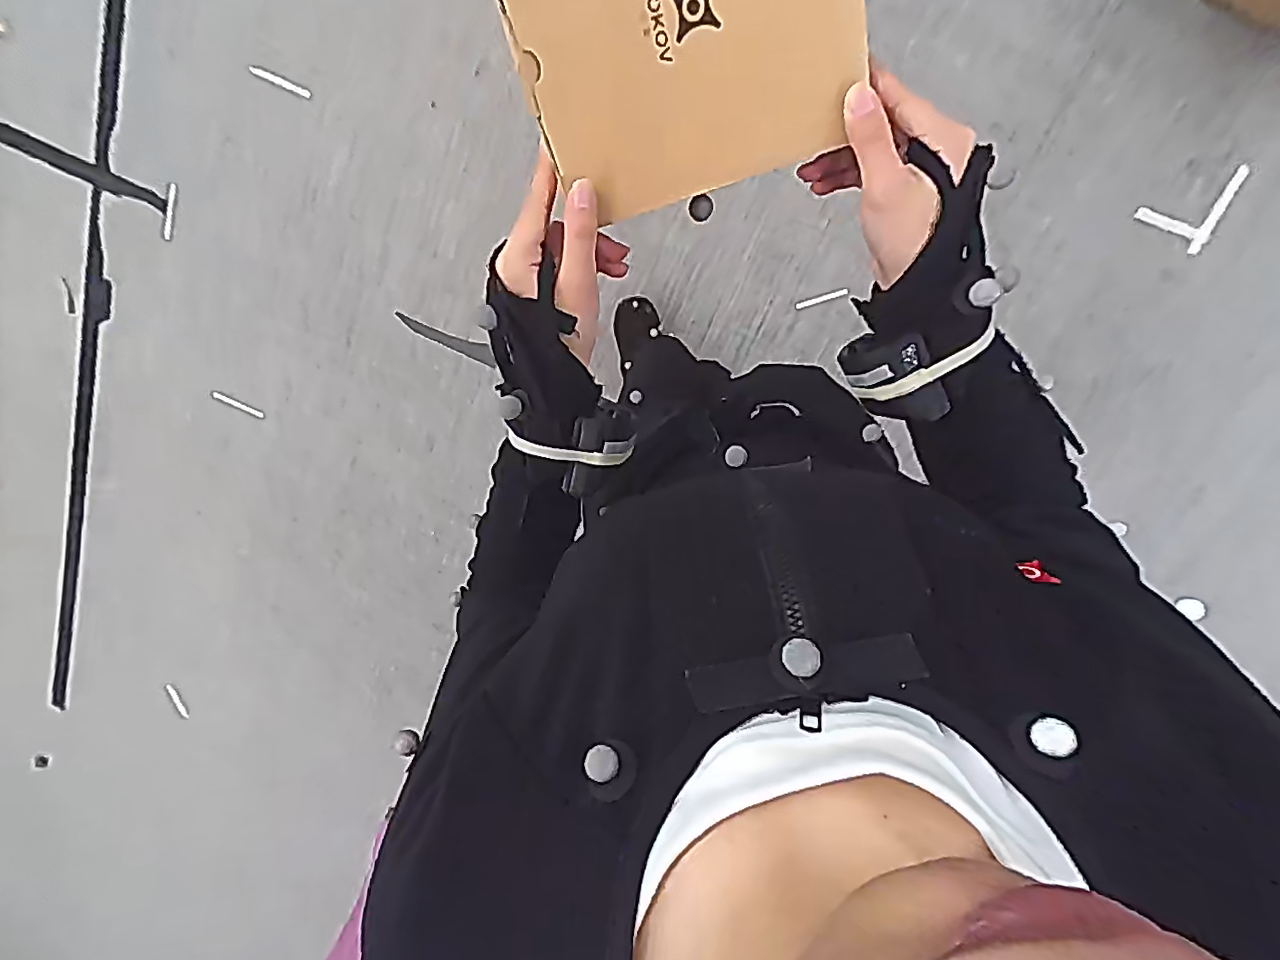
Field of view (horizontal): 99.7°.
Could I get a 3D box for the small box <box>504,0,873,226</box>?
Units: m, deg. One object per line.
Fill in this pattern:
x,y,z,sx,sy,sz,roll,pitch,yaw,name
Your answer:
0.021,-0.276,0.335,0.179,0.176,0.168,-15,119,8,small box
